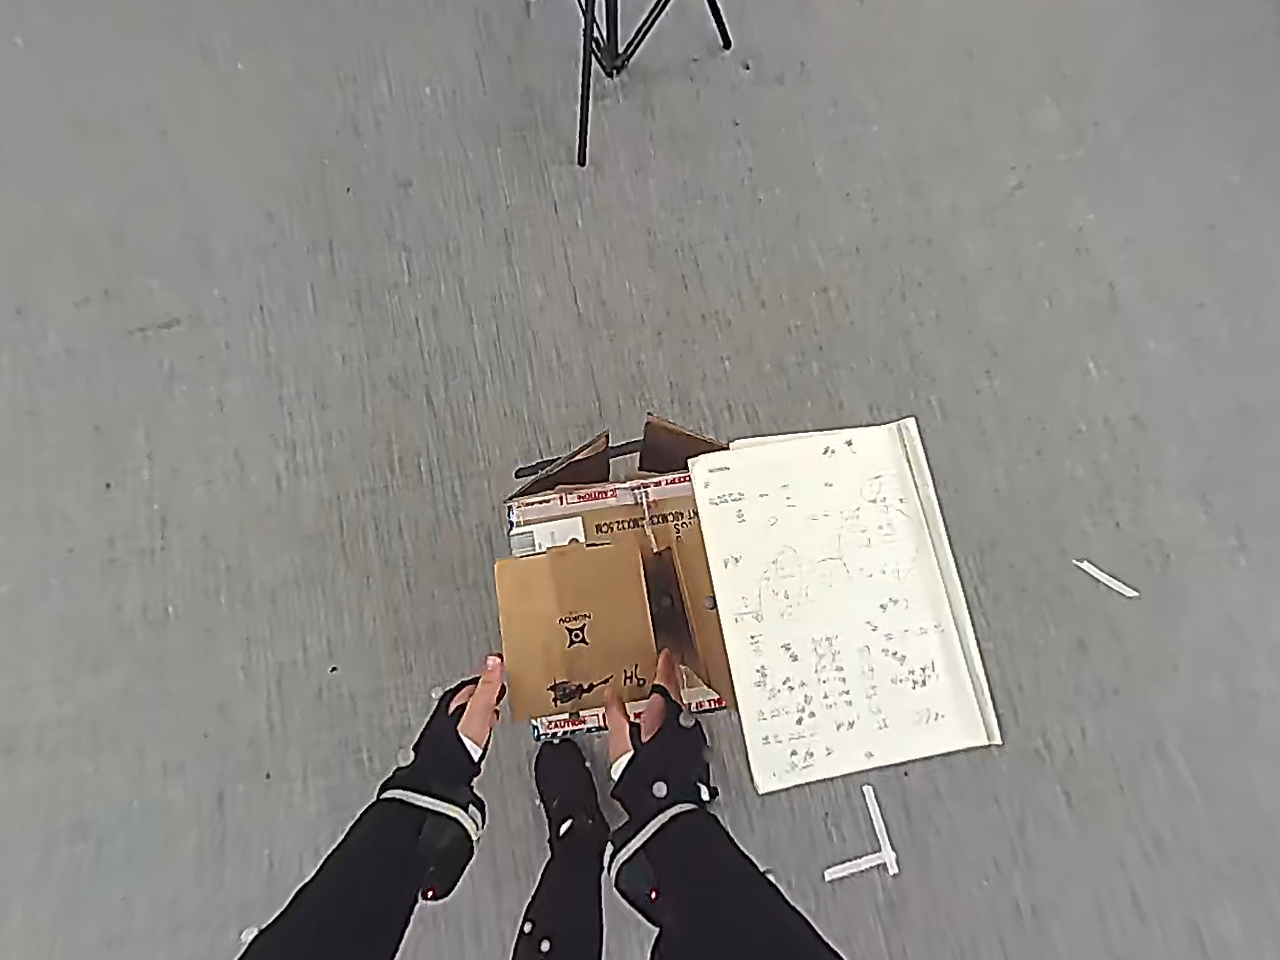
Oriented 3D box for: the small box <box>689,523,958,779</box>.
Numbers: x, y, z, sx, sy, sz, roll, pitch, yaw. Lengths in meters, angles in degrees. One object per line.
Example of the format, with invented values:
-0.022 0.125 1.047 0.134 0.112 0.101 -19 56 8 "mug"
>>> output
0.150 0.146 0.509 0.168 0.176 0.179 -9 81 -6 "small box"
